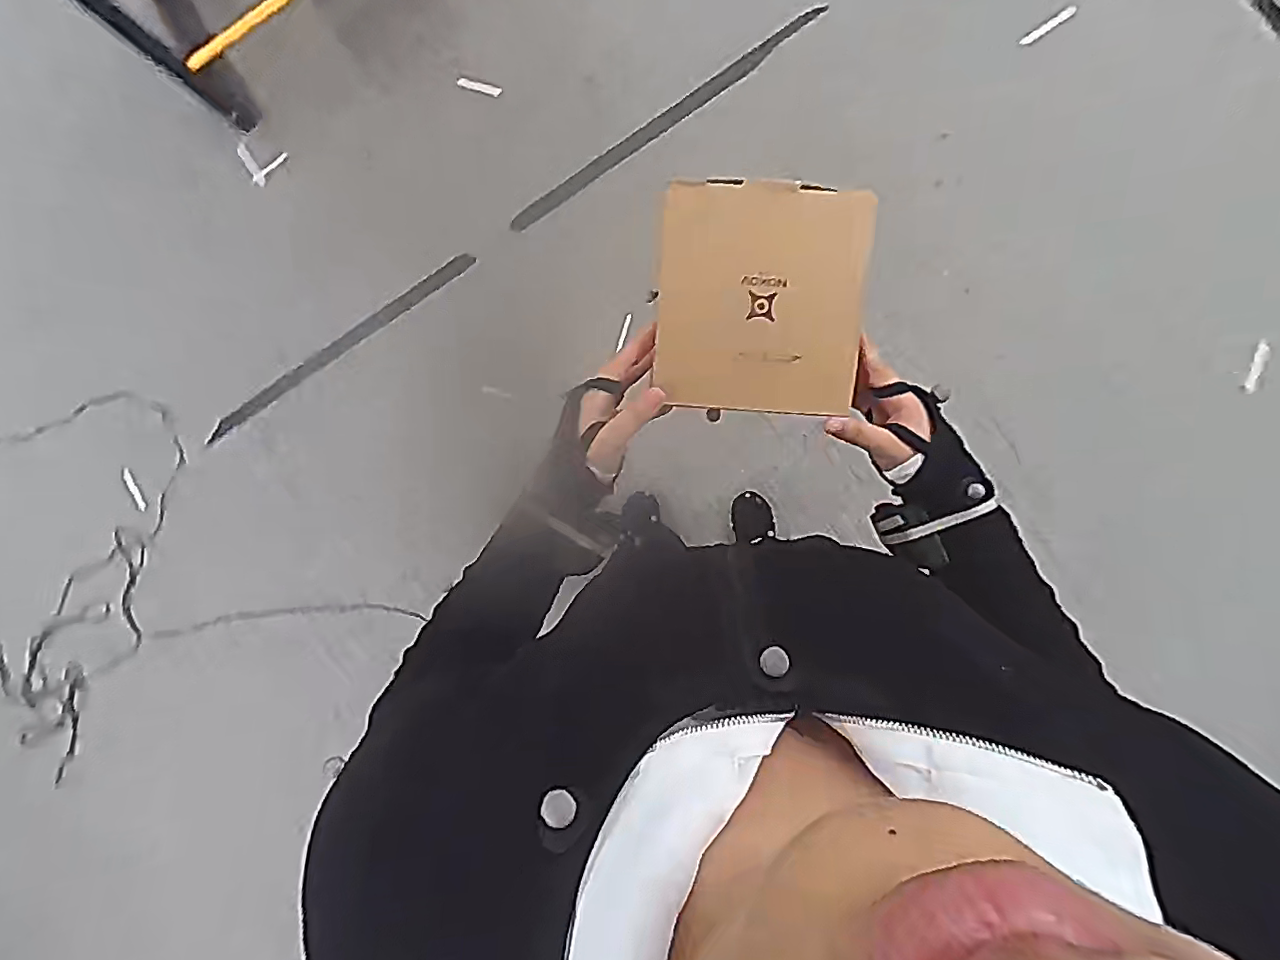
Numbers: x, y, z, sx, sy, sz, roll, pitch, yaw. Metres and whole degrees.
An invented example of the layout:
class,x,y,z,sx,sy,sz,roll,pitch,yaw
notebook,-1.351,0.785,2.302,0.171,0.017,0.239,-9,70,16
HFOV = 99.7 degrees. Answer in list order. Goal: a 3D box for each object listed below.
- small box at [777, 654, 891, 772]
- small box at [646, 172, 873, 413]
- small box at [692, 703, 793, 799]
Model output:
class,x,y,z,sx,sy,sz,roll,pitch,yaw
small box,0.442,0.531,1.268,0.168,0.176,0.179,-35,85,5
small box,0.093,-0.159,0.507,0.168,0.176,0.179,3,101,-1
small box,0.240,0.672,1.291,0.168,0.176,0.179,-34,86,5
